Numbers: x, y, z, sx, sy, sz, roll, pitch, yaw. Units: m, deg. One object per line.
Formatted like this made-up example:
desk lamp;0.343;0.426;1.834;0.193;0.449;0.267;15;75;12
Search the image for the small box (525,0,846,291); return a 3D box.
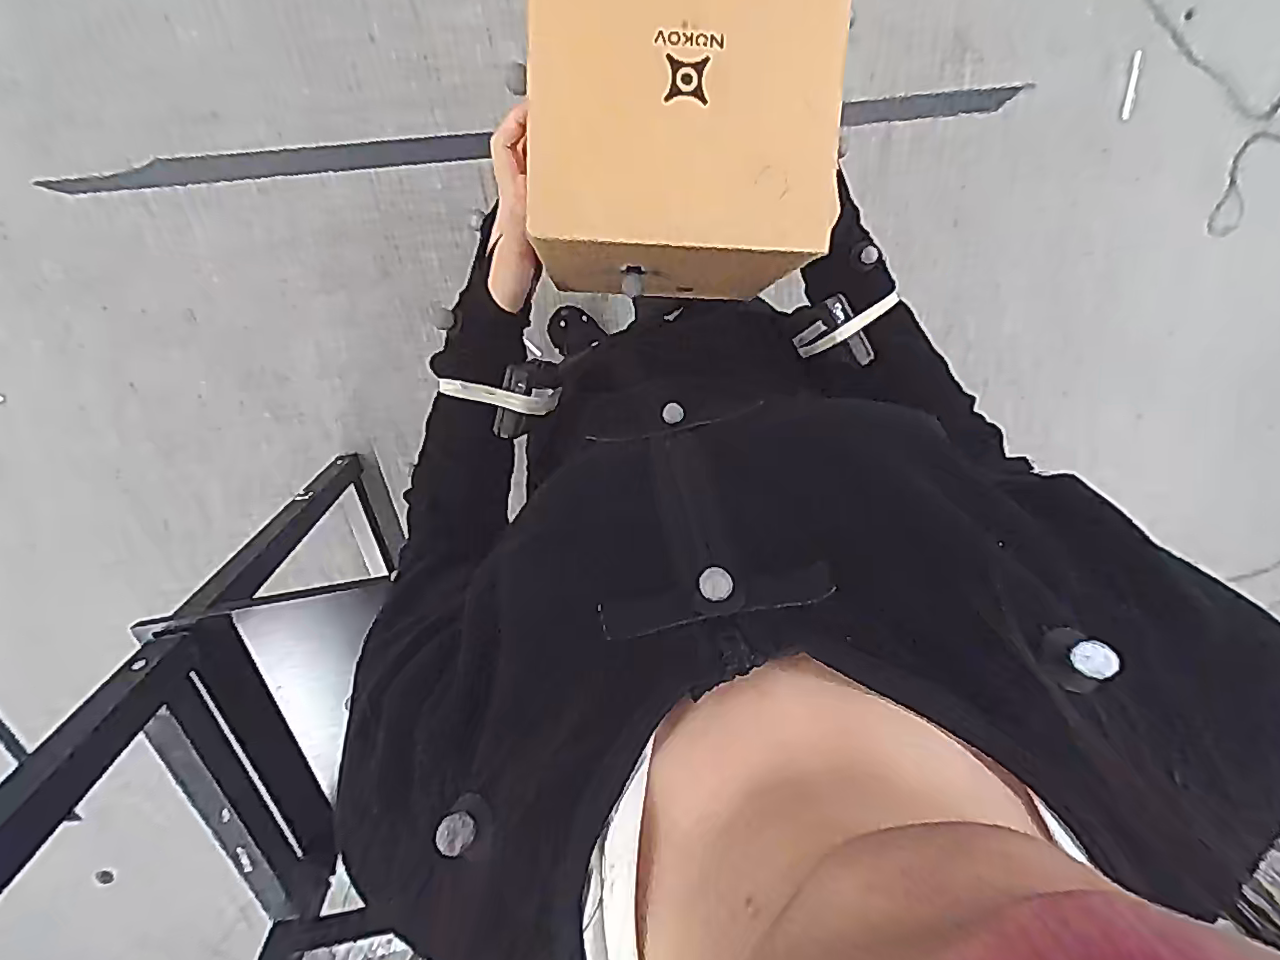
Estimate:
small box;0.020;-0.228;0.358;0.168;0.176;0.179;0;99;-3
